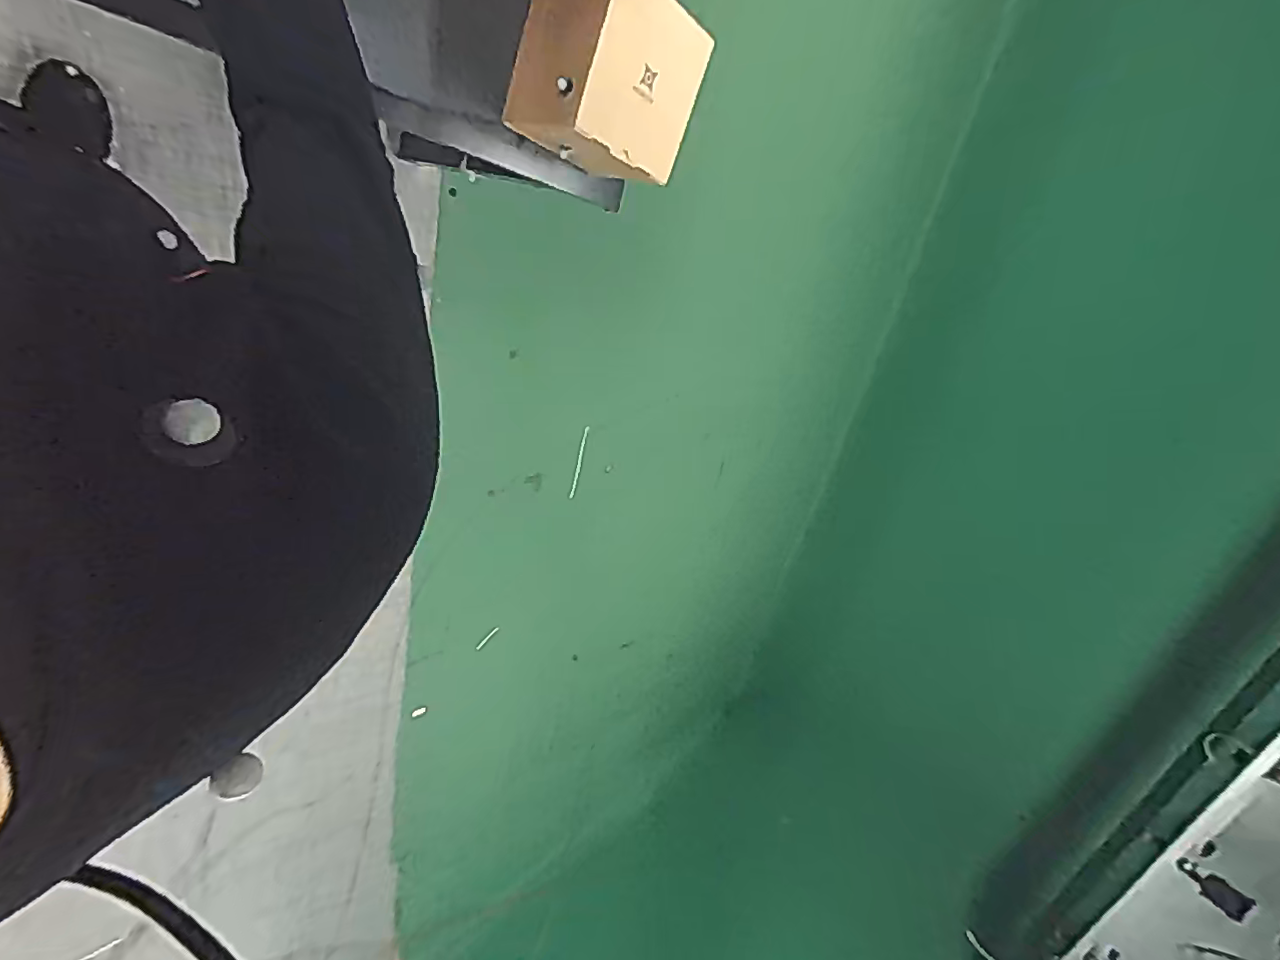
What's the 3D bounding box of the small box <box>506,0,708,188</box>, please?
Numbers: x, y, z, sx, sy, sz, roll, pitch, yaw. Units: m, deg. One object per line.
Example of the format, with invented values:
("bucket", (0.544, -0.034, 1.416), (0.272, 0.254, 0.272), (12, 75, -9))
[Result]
("small box", (-0.049, -0.512, 0.697), (0.168, 0.176, 0.179), (1, 118, -48))
